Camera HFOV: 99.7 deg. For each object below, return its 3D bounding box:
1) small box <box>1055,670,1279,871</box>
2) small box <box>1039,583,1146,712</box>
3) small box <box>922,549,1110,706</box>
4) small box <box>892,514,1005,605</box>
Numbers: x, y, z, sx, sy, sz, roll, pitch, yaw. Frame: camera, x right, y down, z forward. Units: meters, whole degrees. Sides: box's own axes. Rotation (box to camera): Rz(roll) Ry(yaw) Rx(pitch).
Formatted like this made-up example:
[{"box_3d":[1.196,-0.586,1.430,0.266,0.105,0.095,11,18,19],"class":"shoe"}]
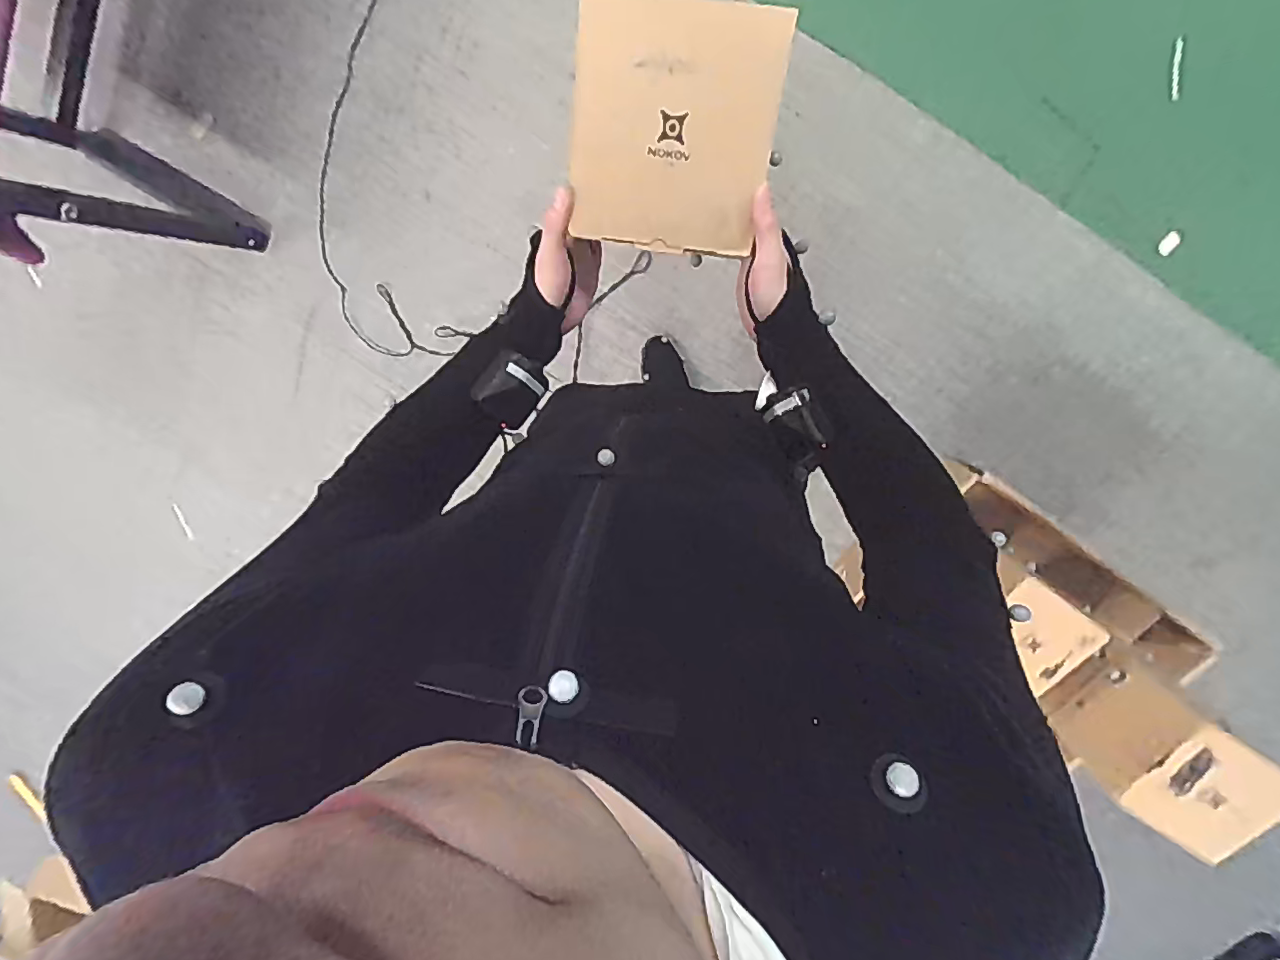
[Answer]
[{"box_3d":[0.786,0.417,0.809,0.179,0.176,0.168,33,108,-1],"class":"small box"},{"box_3d":[0.860,0.342,1.121,0.179,0.176,0.168,35,108,-1],"class":"small box"},{"box_3d":[0.636,0.243,0.943,0.179,0.176,0.168,36,108,-4],"class":"small box"},{"box_3d":[0.655,0.196,1.098,0.179,0.176,0.168,36,107,-5],"class":"small box"}]
